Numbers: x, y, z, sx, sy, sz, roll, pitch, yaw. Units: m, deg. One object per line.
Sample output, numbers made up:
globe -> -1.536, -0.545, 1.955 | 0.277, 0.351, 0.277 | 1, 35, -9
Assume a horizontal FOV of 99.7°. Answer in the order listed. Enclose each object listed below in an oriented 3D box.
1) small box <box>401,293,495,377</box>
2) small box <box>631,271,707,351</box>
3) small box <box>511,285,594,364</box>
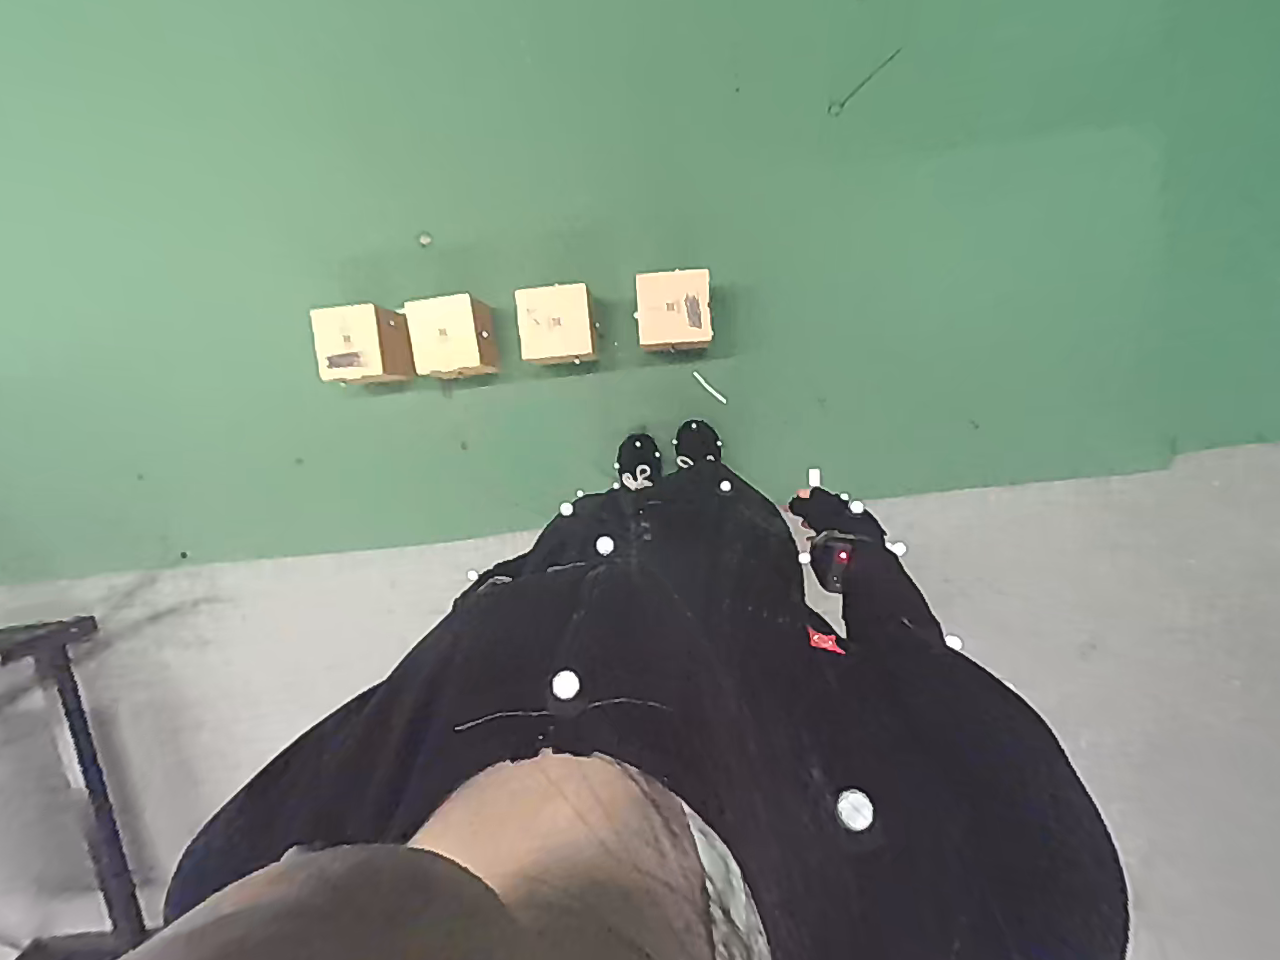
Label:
small box -> -0.487, -0.367, 1.395 | 0.168, 0.176, 0.179 | -7, 98, 4
small box -> 0.073, -0.419, 1.358 | 0.179, 0.176, 0.168 | -3, 97, 4
small box -> -0.214, -0.390, 1.376 | 0.179, 0.176, 0.168 | -4, 97, 3
